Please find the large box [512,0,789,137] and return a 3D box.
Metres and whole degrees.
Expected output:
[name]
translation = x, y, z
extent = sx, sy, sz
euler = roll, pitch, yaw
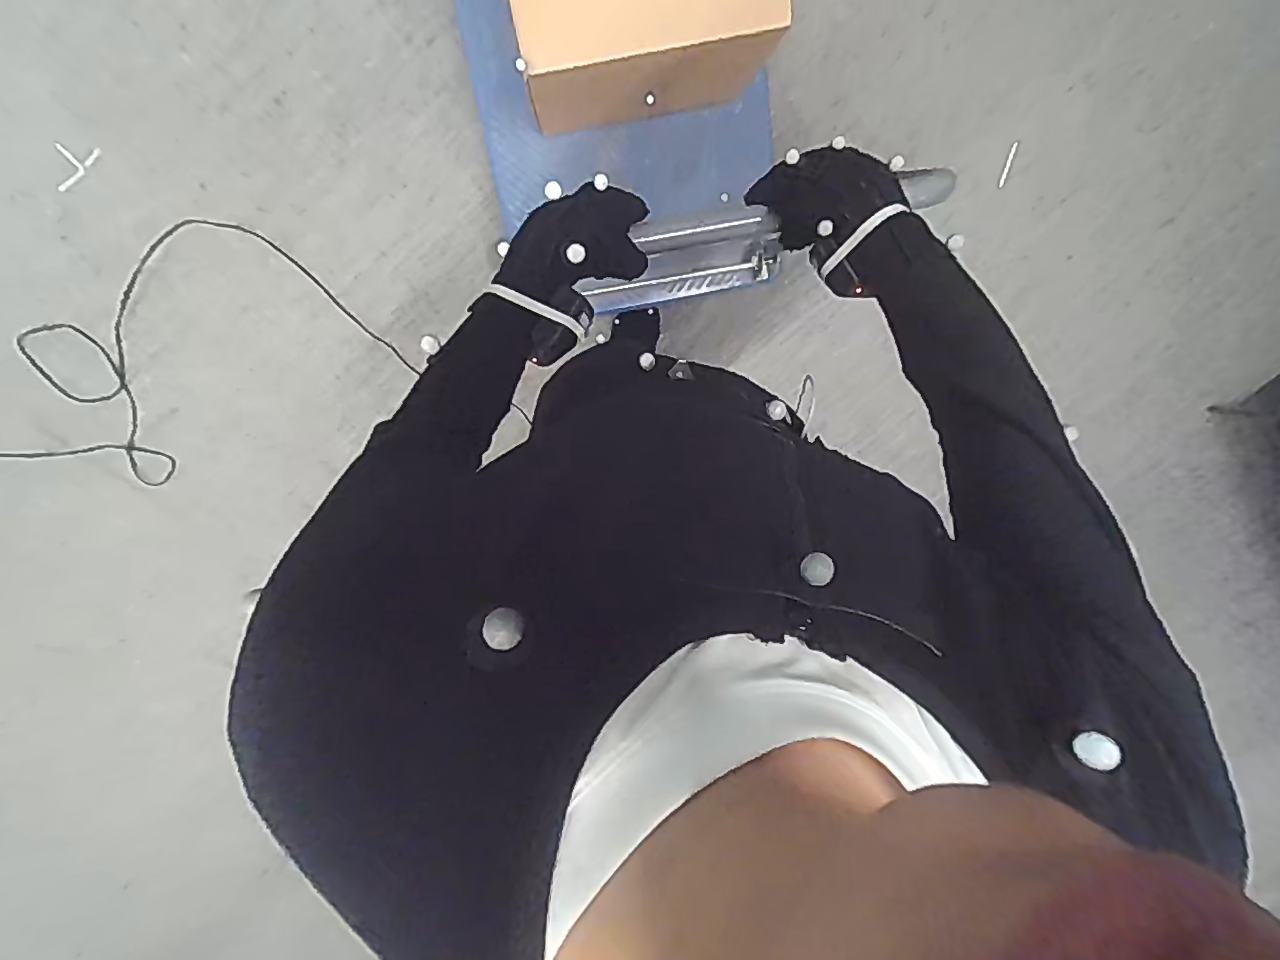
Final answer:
[large box]
translation = -0.009, -0.824, 0.903
extent = 0.408, 0.320, 0.320
euler = -12, 108, -1
